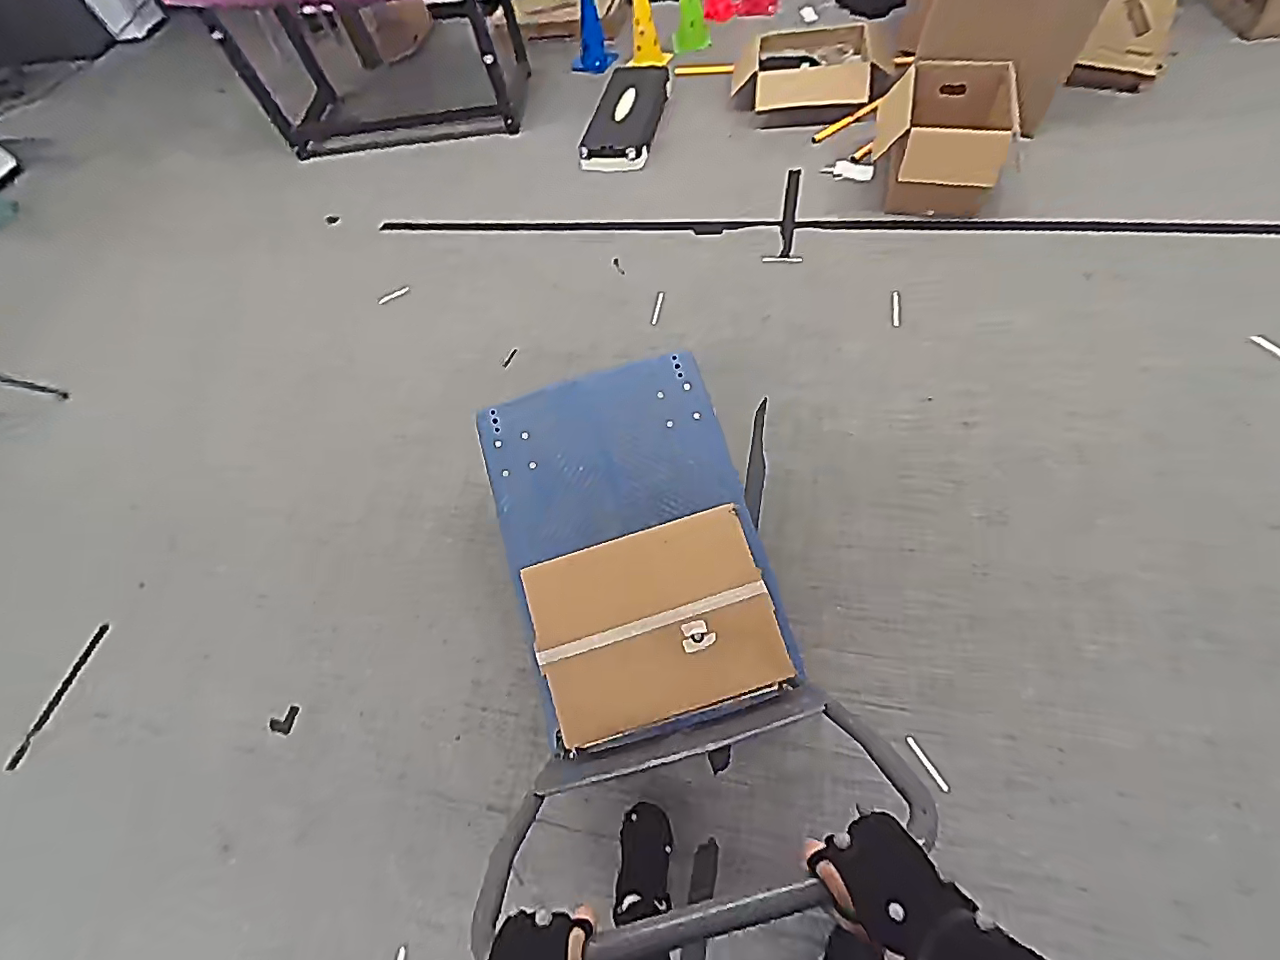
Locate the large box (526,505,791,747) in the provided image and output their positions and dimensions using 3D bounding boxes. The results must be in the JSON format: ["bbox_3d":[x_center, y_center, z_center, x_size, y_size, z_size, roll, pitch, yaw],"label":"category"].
[{"bbox_3d":[0.031,0.285,1.097,0.408,0.320,0.320,-18,77,-2],"label":"large box"}]
